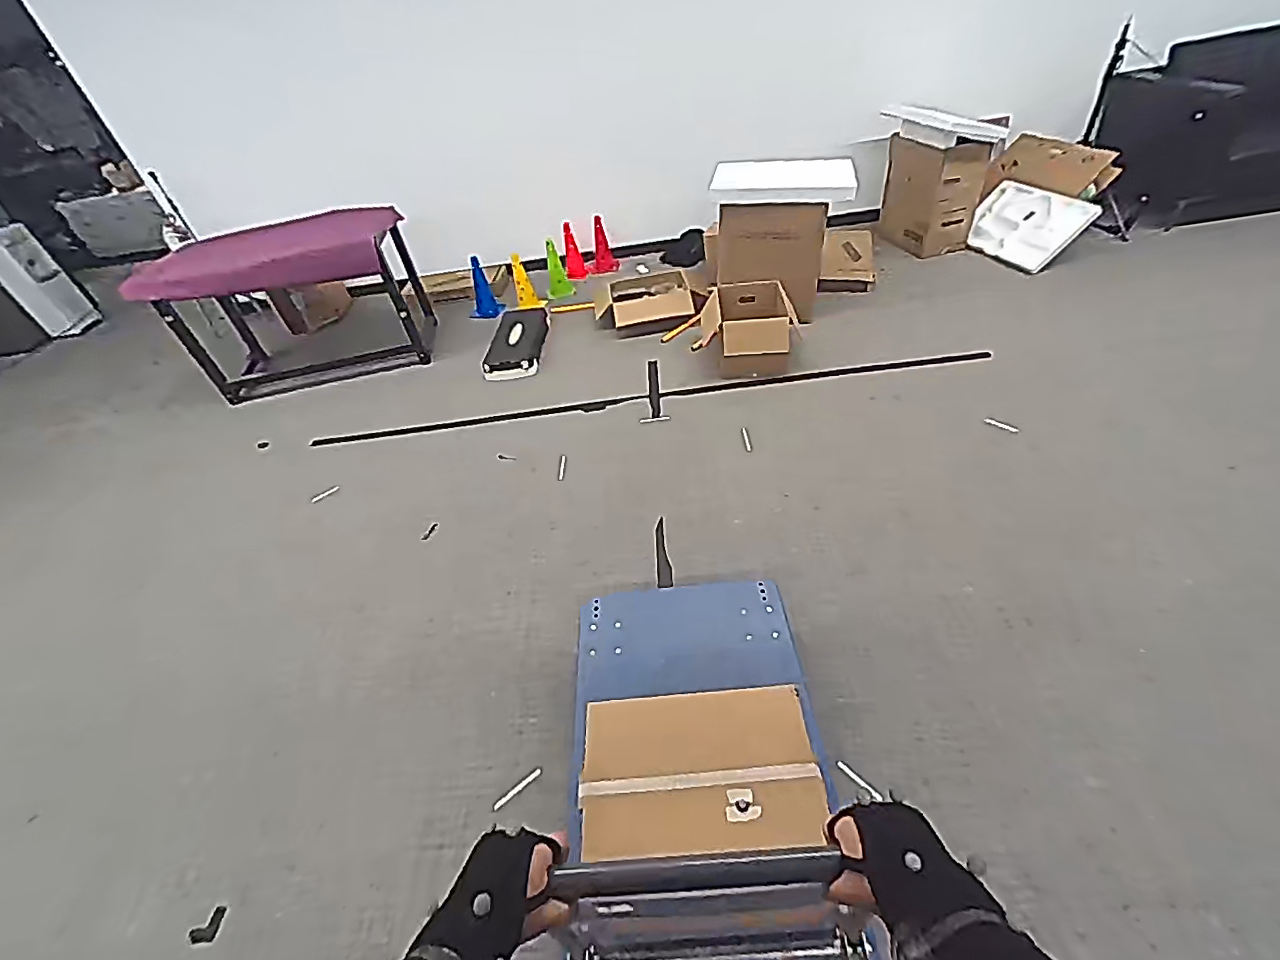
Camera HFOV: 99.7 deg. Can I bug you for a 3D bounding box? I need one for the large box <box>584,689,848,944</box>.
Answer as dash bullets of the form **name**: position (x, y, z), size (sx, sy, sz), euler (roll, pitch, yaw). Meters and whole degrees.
- **large box**: position (0.120, 0.626, 1.008), size (0.408, 0.320, 0.320), euler (-6, 42, 3)
